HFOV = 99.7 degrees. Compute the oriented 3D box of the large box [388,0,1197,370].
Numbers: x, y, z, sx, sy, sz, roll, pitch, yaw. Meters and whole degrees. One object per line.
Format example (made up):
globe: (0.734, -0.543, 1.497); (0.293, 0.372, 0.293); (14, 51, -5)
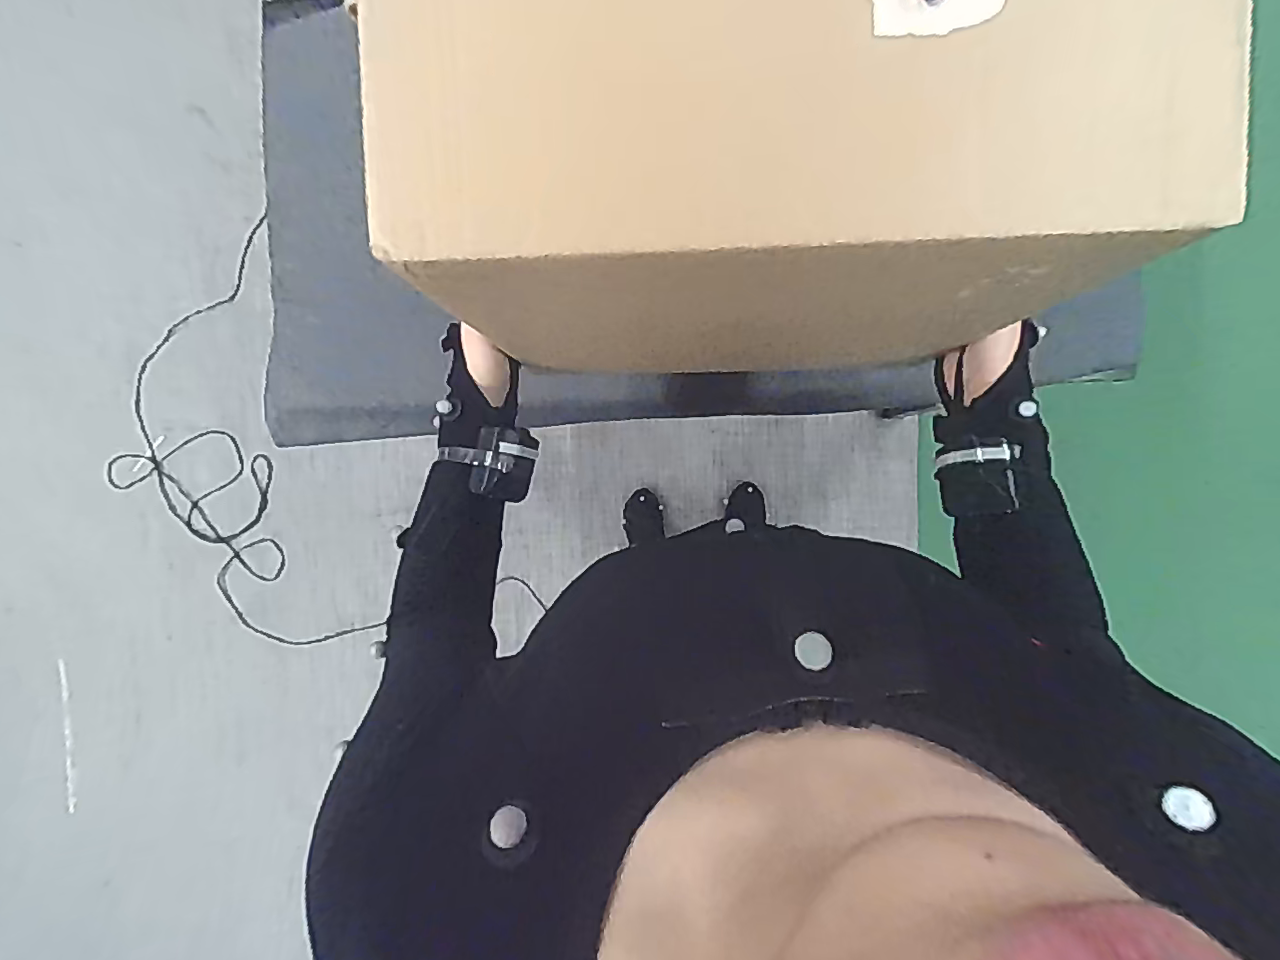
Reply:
large box: (0.072, -0.276, 0.420); (0.408, 0.320, 0.320); (-1, 91, 3)
